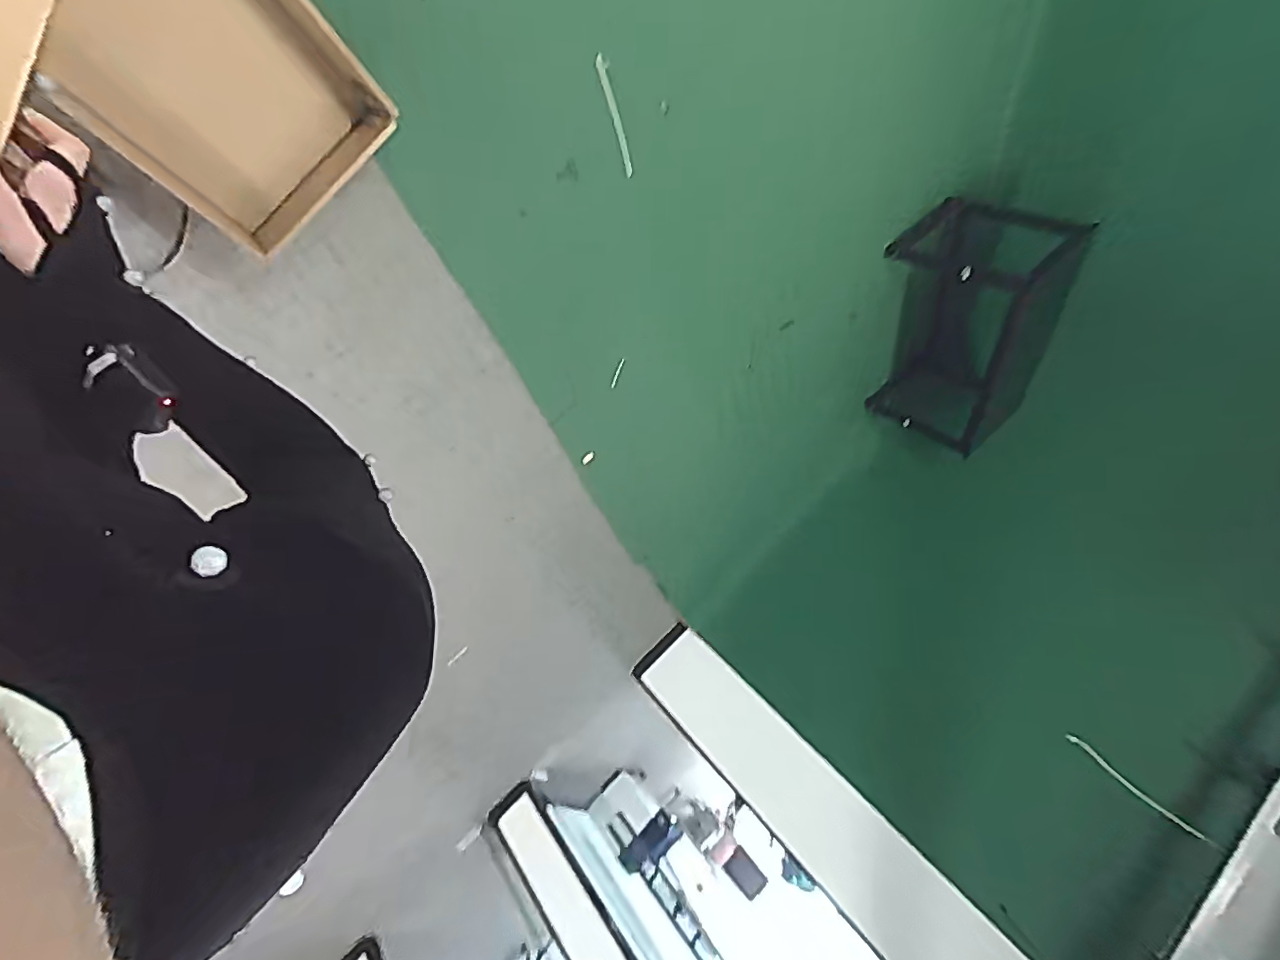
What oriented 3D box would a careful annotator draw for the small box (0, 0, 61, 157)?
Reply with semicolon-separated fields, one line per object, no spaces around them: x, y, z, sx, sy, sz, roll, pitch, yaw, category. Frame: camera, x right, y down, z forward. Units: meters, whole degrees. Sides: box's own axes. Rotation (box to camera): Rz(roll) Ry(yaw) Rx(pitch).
-0.579;-0.376;0.404;0.168;0.176;0.179;17;94;-56;small box
